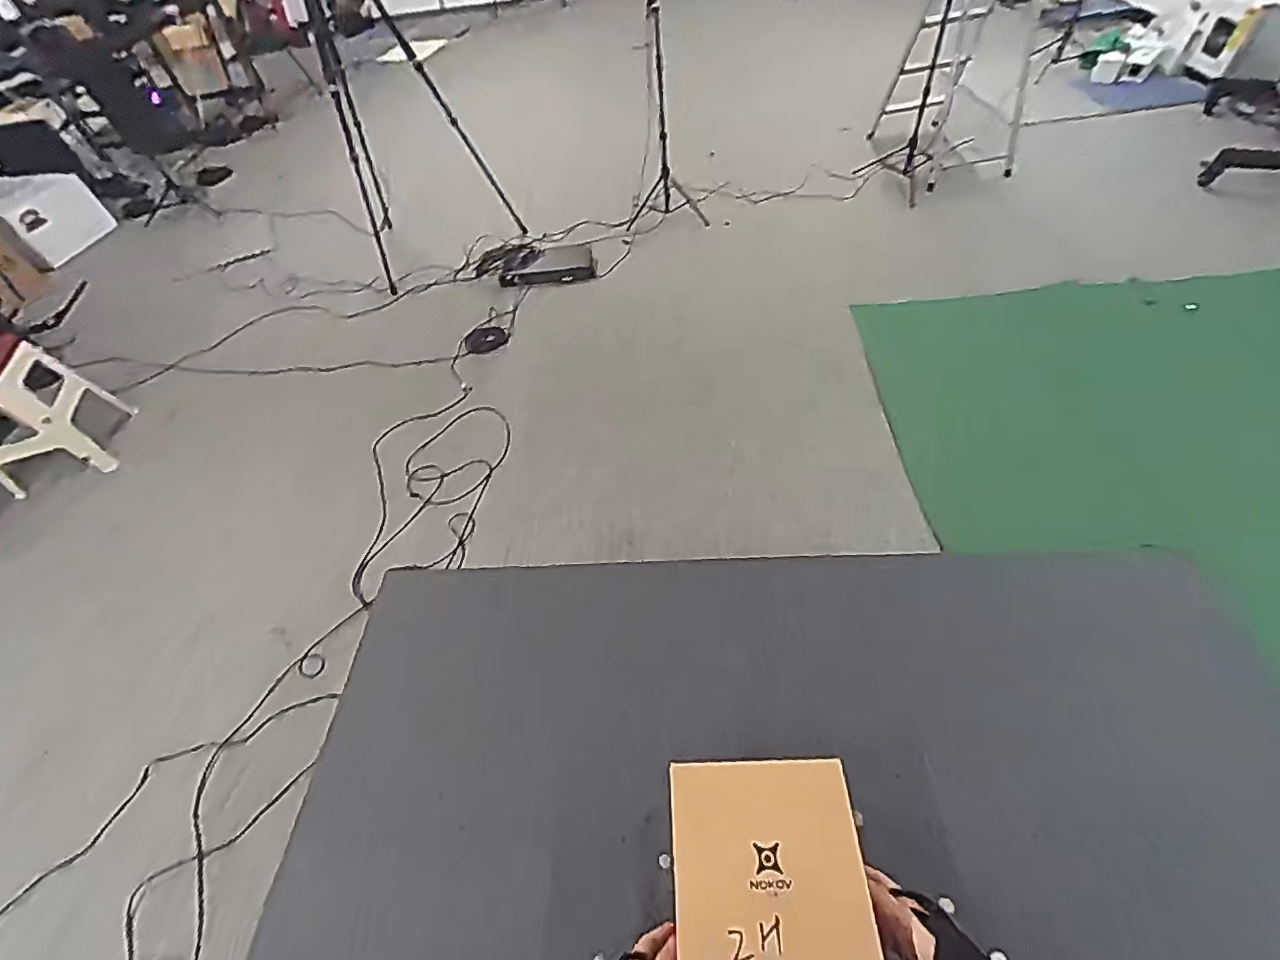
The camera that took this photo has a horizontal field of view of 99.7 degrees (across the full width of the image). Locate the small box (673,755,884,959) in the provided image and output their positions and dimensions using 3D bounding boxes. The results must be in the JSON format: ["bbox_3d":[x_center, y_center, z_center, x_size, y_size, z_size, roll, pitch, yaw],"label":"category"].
[{"bbox_3d":[0.119,0.386,0.527,0.168,0.176,0.179,-4,50,5],"label":"small box"}]
